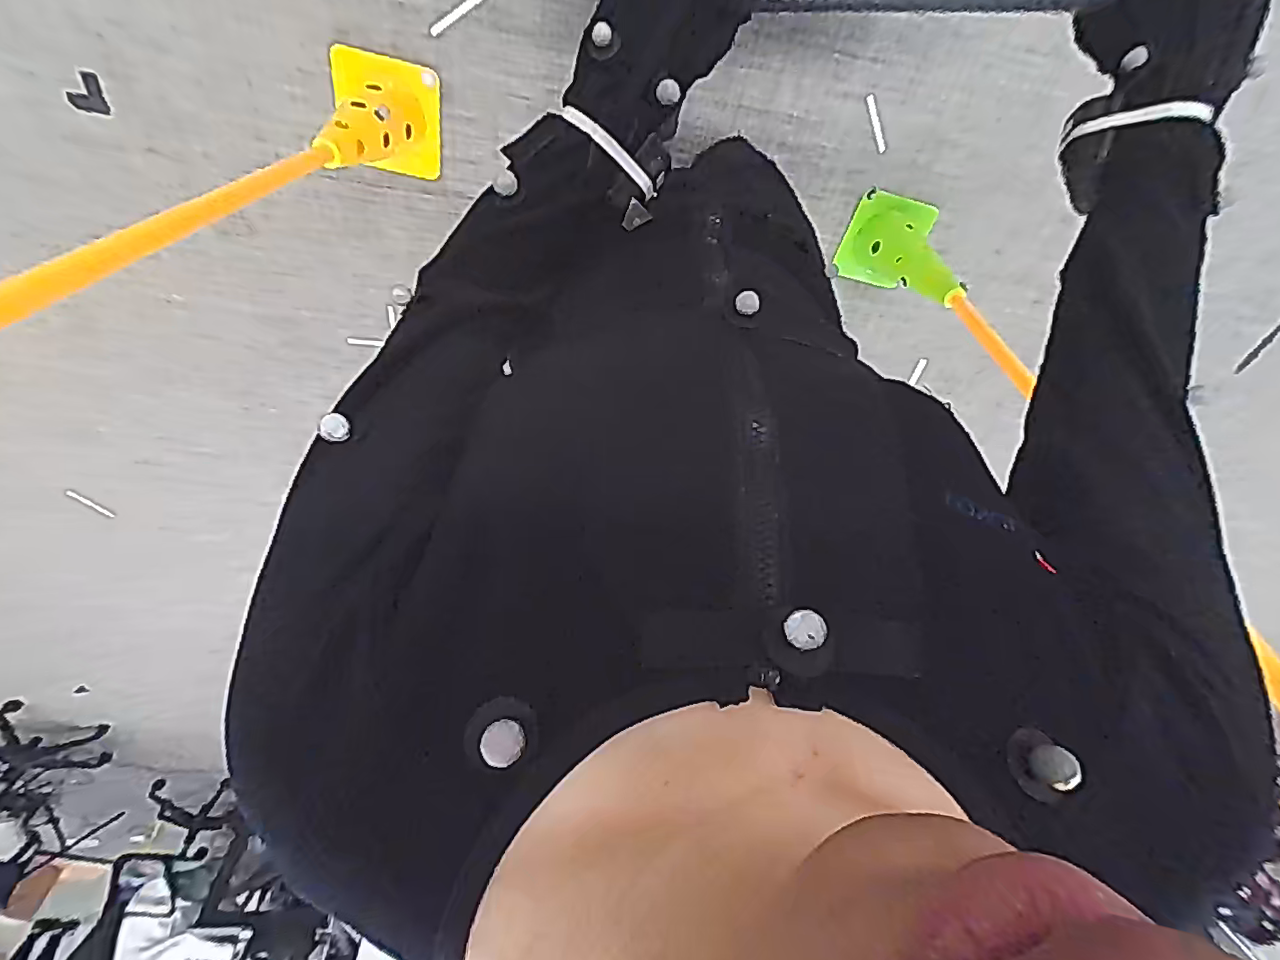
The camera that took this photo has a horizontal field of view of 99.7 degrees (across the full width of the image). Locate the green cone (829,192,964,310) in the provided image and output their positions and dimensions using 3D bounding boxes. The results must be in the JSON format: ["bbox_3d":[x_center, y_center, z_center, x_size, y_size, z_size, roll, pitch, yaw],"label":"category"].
[{"bbox_3d":[0.599,-0.468,1.197,0.202,0.368,0.200,8,130,-12],"label":"green cone"}]
